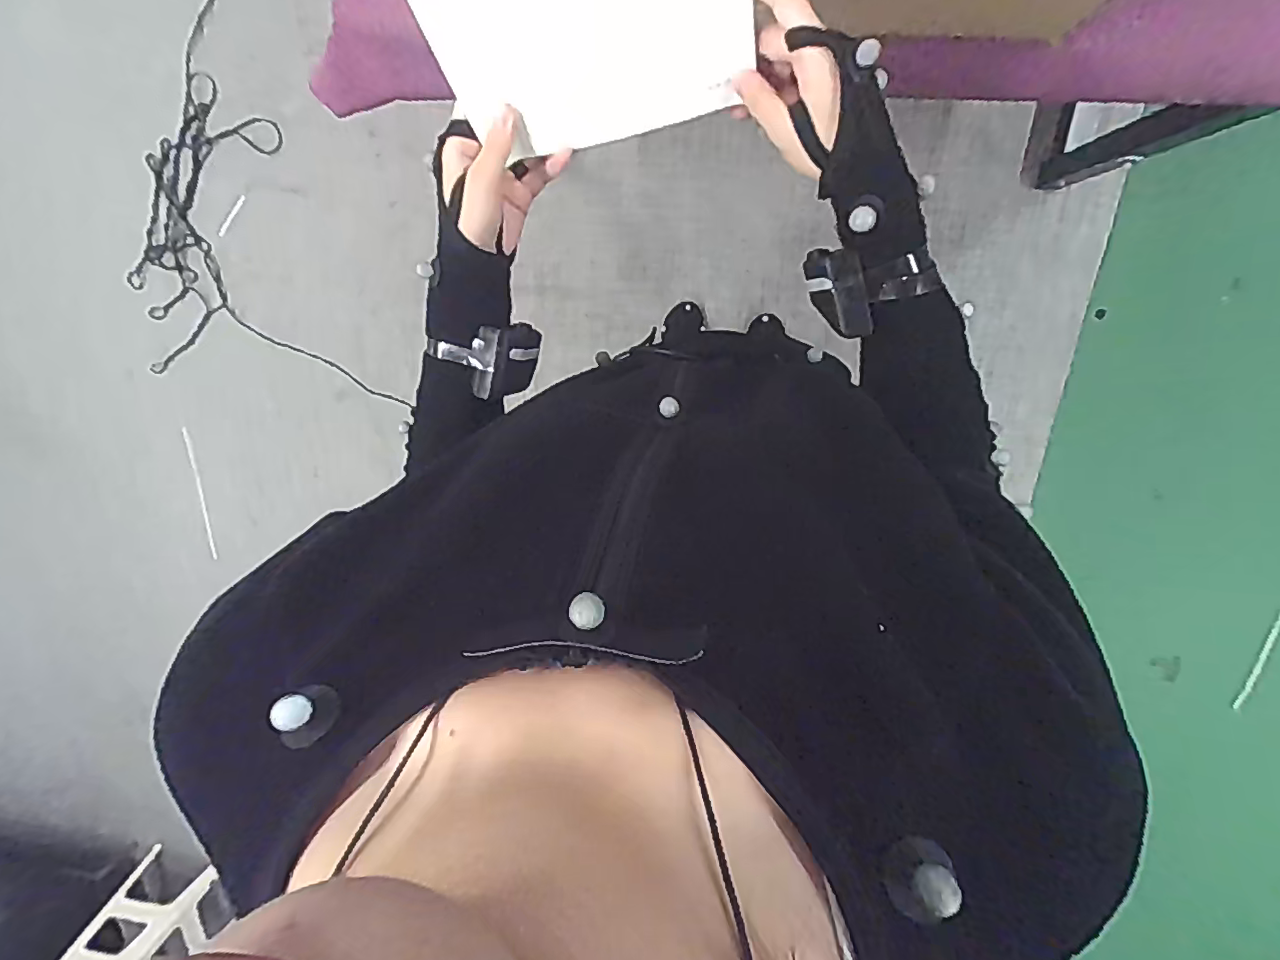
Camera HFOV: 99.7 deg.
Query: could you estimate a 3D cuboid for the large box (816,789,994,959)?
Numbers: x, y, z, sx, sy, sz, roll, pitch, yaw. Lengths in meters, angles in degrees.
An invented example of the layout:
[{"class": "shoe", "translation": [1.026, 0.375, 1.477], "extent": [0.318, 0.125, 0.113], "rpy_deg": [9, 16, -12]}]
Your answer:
[{"class": "large box", "translation": [0.781, 1.187, 1.639], "extent": [0.408, 0.320, 0.320], "rpy_deg": [-8, 107, 11]}]
